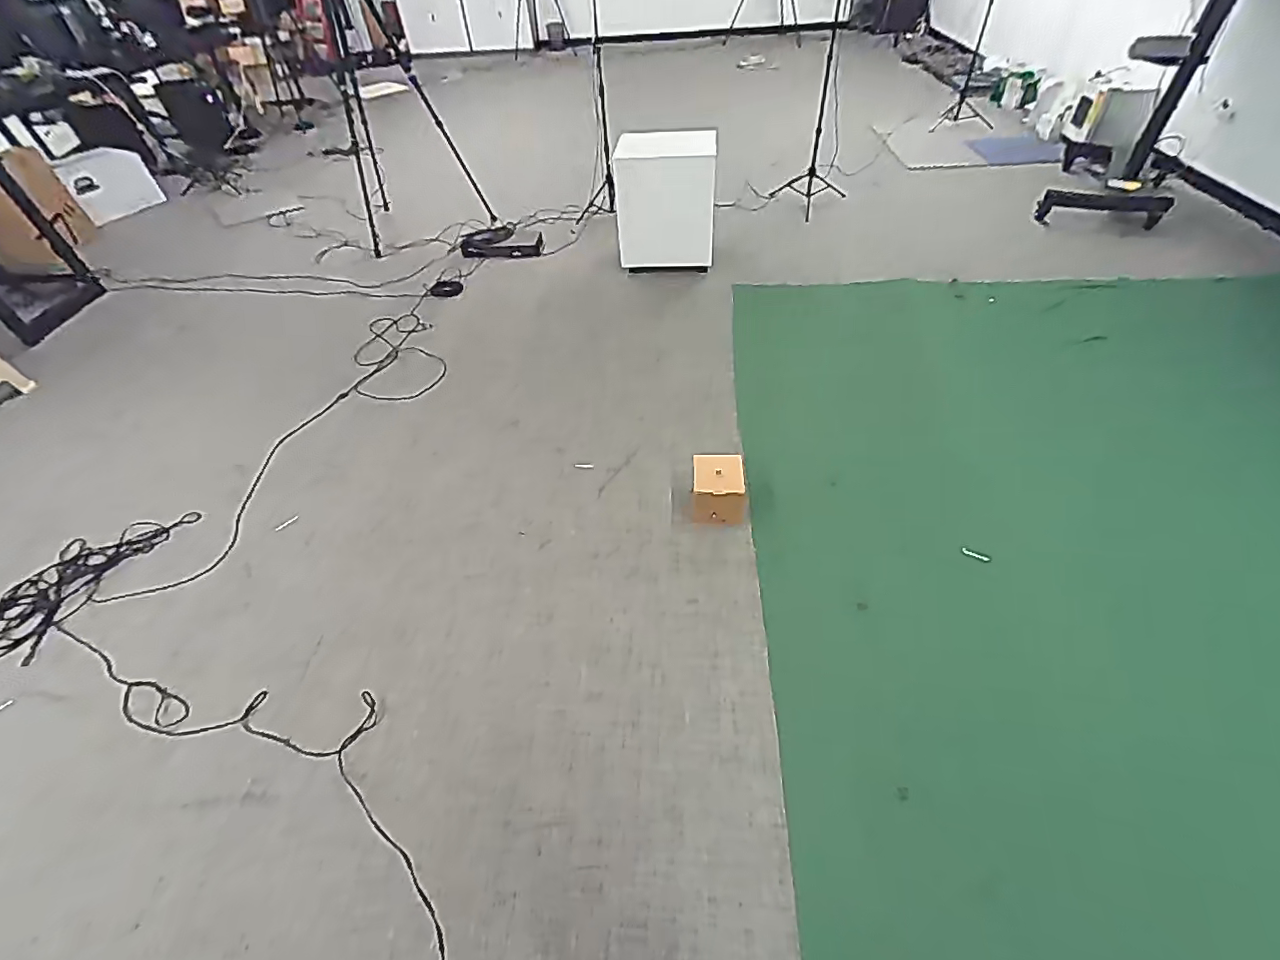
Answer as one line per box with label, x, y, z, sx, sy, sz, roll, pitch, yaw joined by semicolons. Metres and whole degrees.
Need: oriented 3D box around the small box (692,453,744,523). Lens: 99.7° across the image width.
small box;0.264;0.027;1.863;0.168;0.176;0.179;0;48;4
